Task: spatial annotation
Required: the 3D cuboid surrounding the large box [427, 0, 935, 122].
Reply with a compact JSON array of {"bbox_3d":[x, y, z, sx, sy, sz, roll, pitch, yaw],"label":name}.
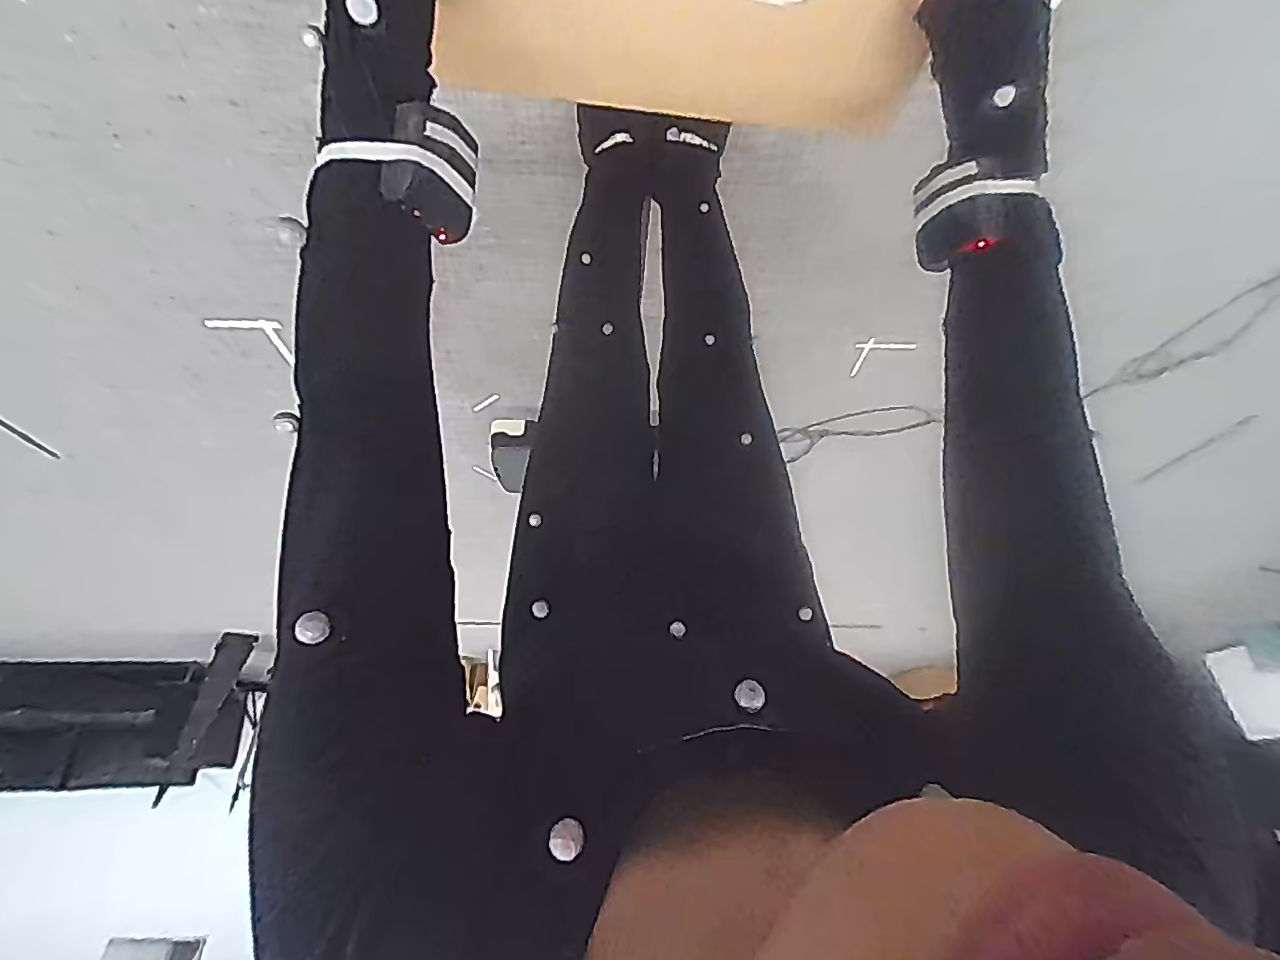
[{"bbox_3d":[0.036,-0.541,0.425,0.408,0.320,0.320,1,151,-7],"label":"large box"}]
